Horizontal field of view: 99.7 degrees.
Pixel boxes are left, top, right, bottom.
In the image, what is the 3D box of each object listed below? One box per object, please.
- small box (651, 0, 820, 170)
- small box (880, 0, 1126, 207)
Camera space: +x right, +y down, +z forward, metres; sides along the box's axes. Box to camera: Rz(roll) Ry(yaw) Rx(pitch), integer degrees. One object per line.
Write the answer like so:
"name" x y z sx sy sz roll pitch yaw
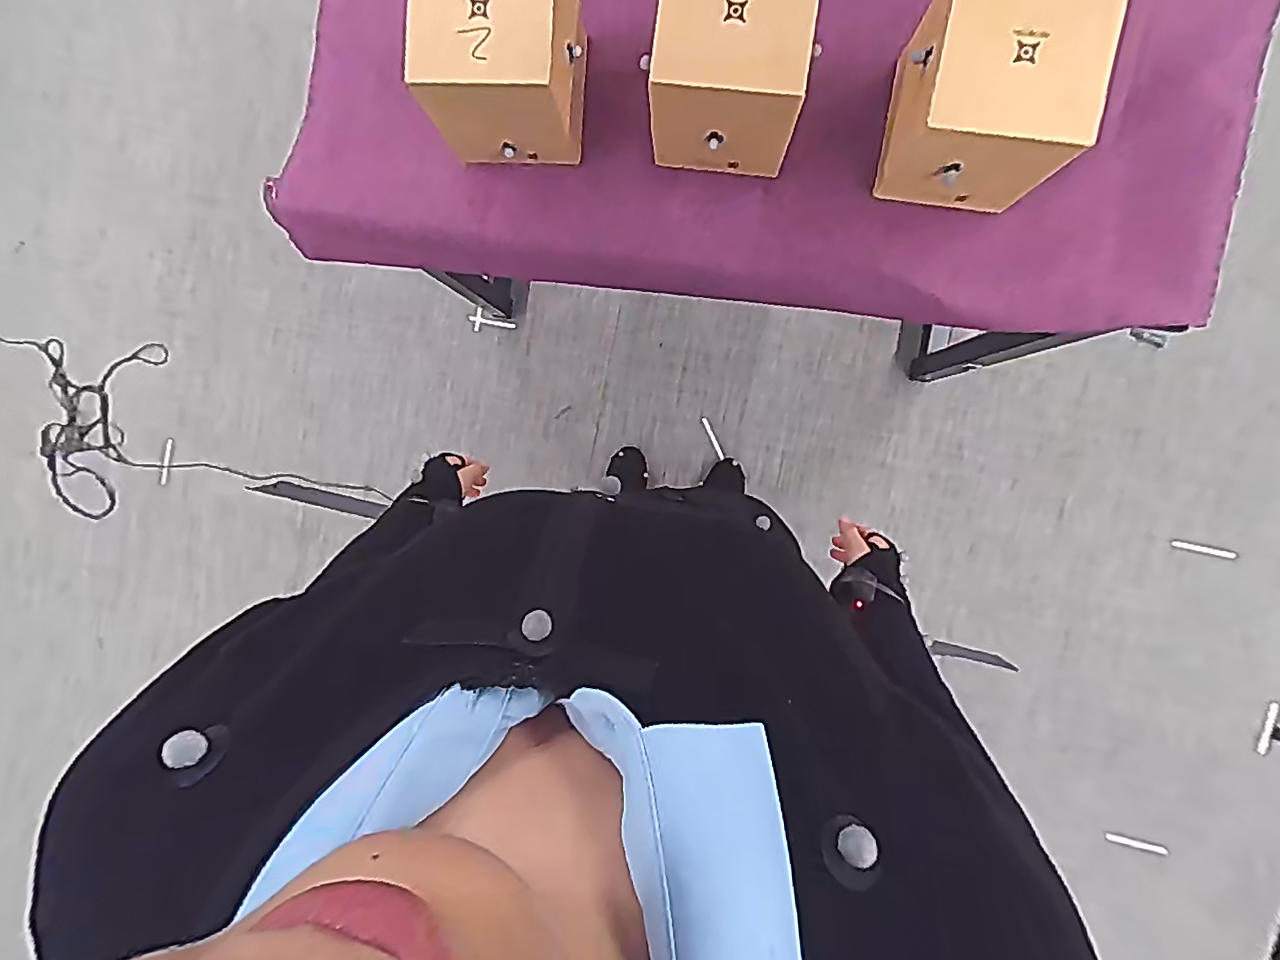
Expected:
"small box" 0.110 -0.500 0.639 0.168 0.176 0.179 9 93 3
"small box" 0.395 -0.441 0.620 0.168 0.176 0.179 10 94 4
